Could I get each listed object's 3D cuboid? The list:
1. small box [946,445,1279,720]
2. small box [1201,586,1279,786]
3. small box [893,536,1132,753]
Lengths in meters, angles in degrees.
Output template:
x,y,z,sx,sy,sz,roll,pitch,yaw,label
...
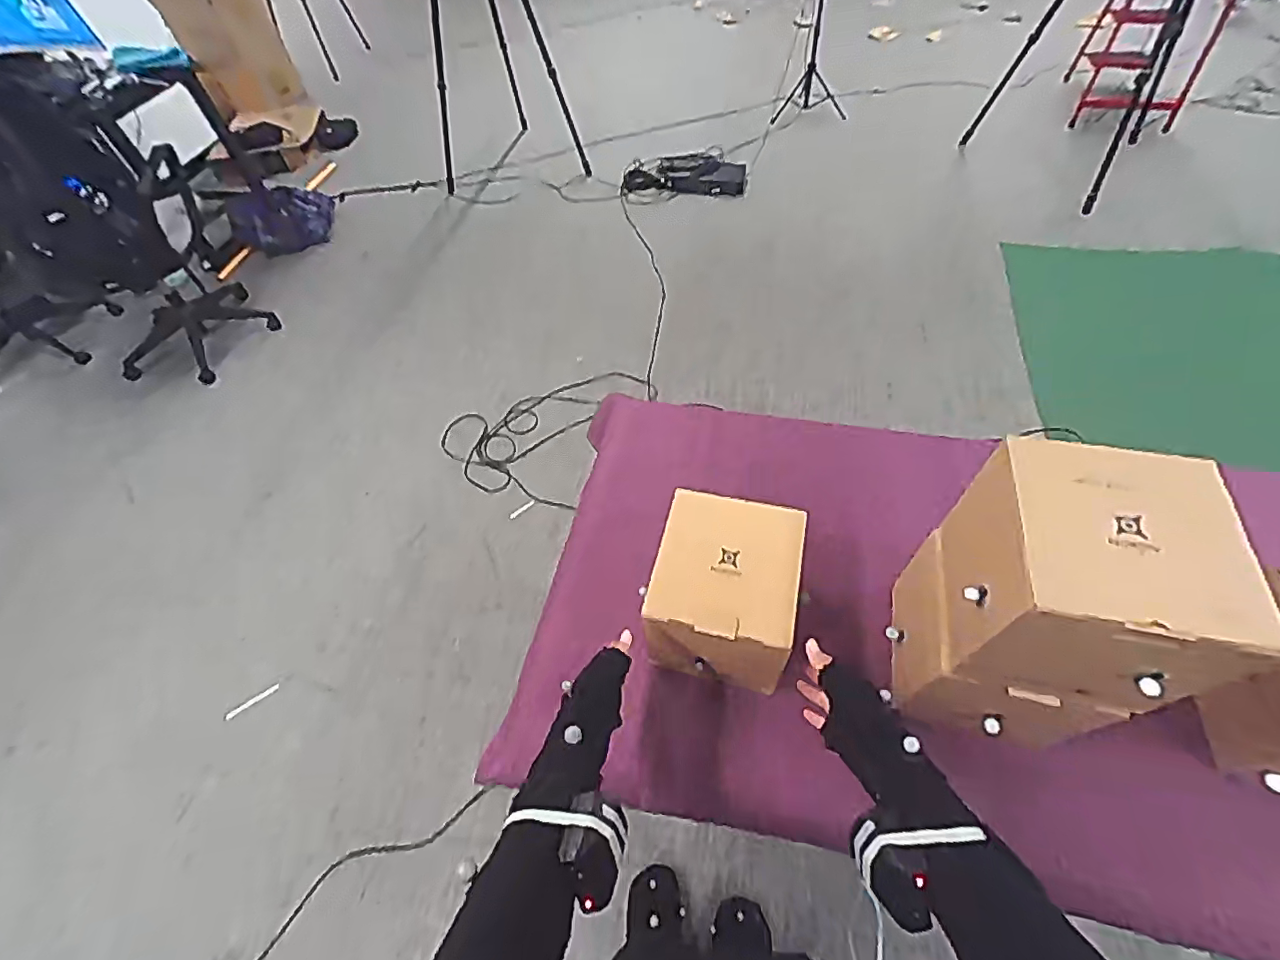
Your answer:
x,y,z,sx,sy,sz,roll,pitch,yaw,label
0.398,0.097,0.491,0.168,0.176,0.179,10,55,12,small box
0.738,0.230,0.561,0.168,0.176,0.179,12,56,12,small box
0.403,0.193,0.623,0.168,0.176,0.179,11,56,12,small box
